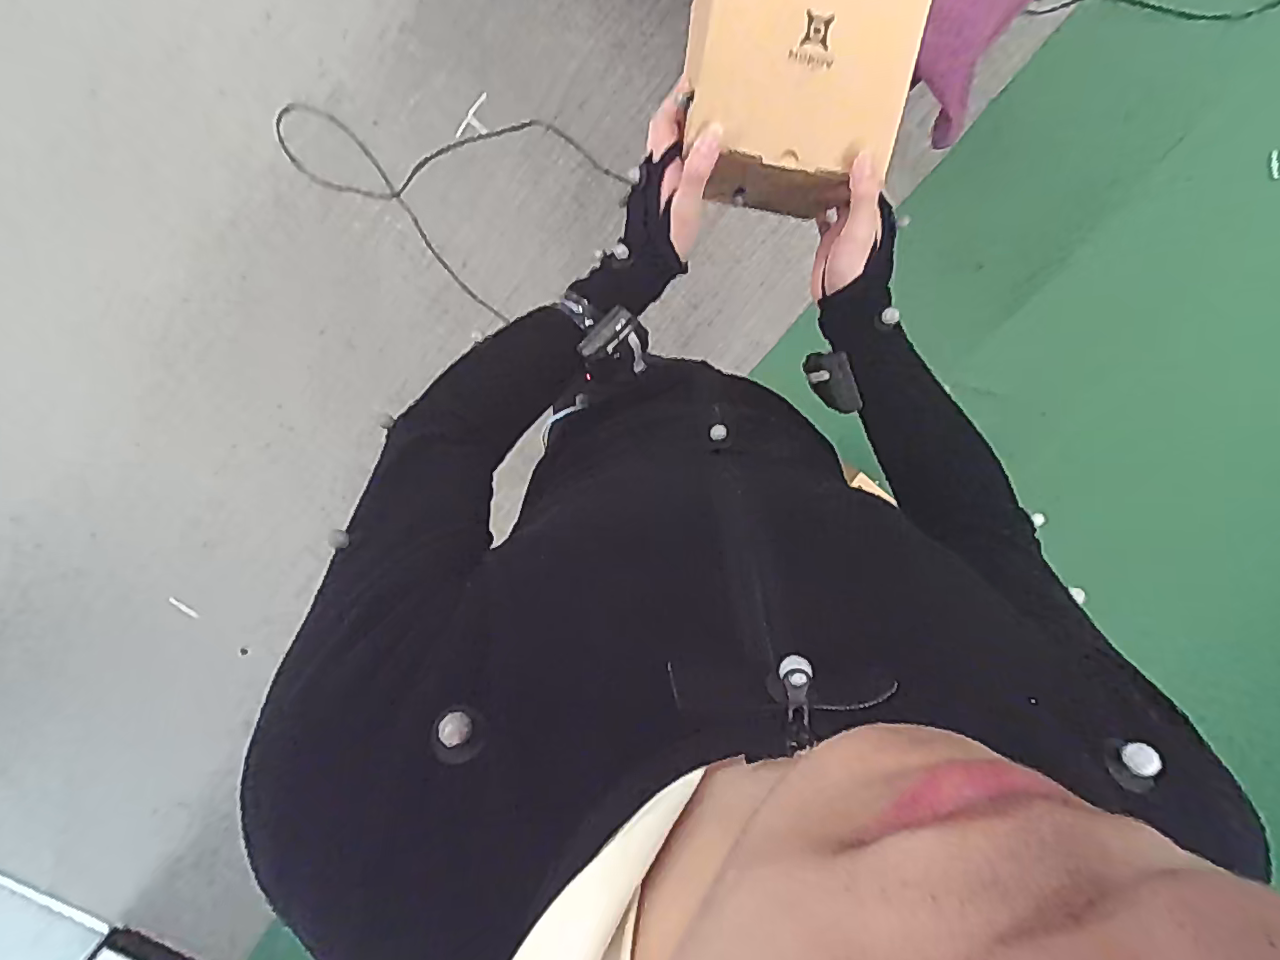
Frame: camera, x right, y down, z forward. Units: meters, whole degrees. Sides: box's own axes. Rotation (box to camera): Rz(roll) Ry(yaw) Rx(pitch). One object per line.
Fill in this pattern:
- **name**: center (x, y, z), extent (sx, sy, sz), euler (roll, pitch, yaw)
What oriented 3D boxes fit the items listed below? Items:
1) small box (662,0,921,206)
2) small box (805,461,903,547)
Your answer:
- **small box**: center (0.118, -0.364, 0.480), extent (0.168, 0.176, 0.179), euler (7, 108, -7)
- **small box**: center (0.619, 0.062, 1.590), extent (0.179, 0.176, 0.168), euler (37, 102, -11)
